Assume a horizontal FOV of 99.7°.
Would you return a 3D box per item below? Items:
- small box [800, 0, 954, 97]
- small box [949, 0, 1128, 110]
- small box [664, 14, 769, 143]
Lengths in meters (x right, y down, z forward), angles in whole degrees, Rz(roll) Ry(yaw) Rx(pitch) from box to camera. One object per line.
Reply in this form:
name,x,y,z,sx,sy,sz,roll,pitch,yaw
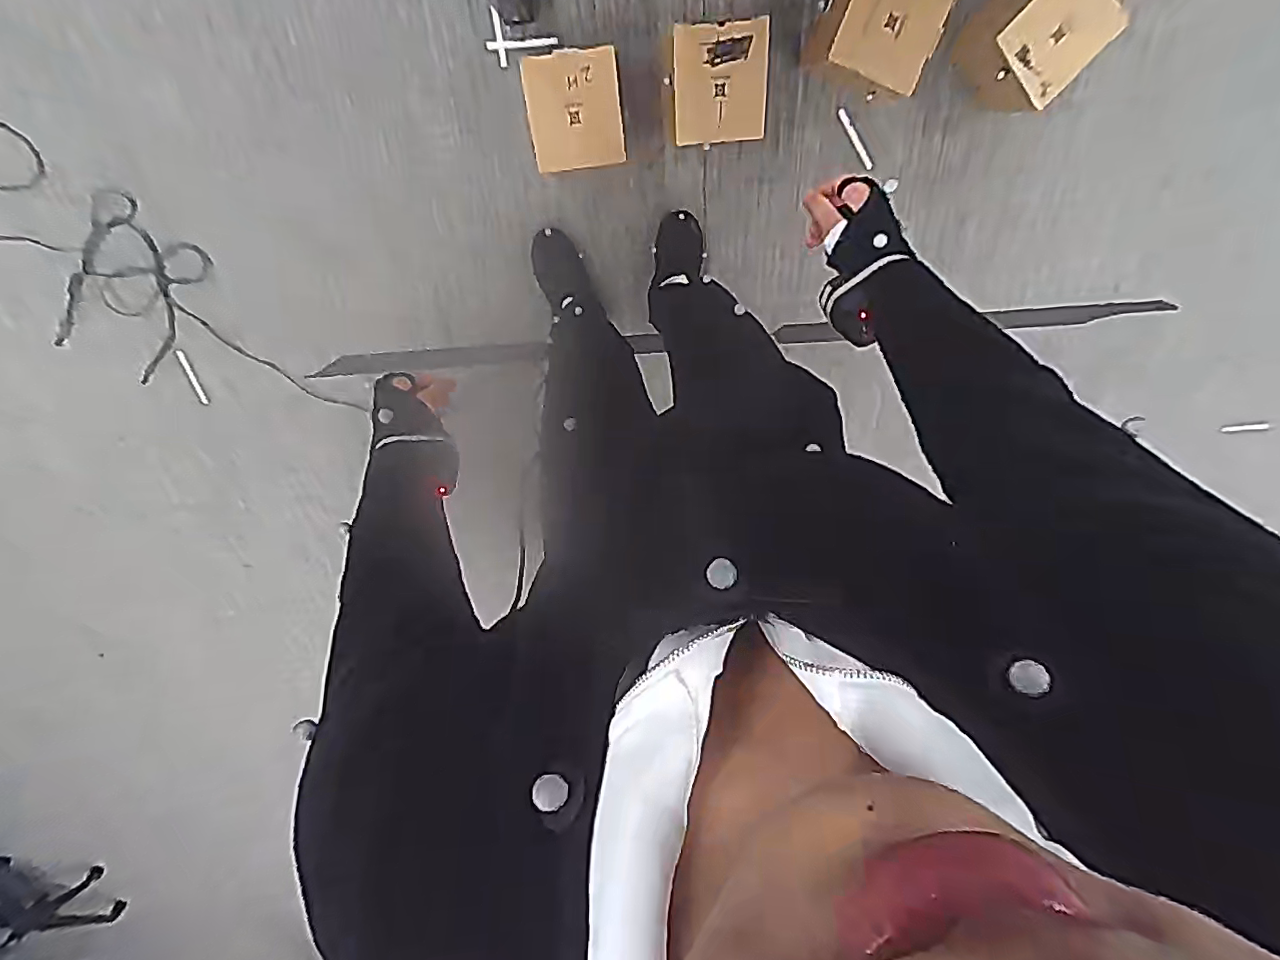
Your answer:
small box,0.425,-0.824,0.988,0.179,0.176,0.168,13,120,-12
small box,0.727,-0.829,1.006,0.168,0.176,0.179,34,114,-23
small box,0.136,-0.743,1.015,0.168,0.176,0.179,-5,124,-1
